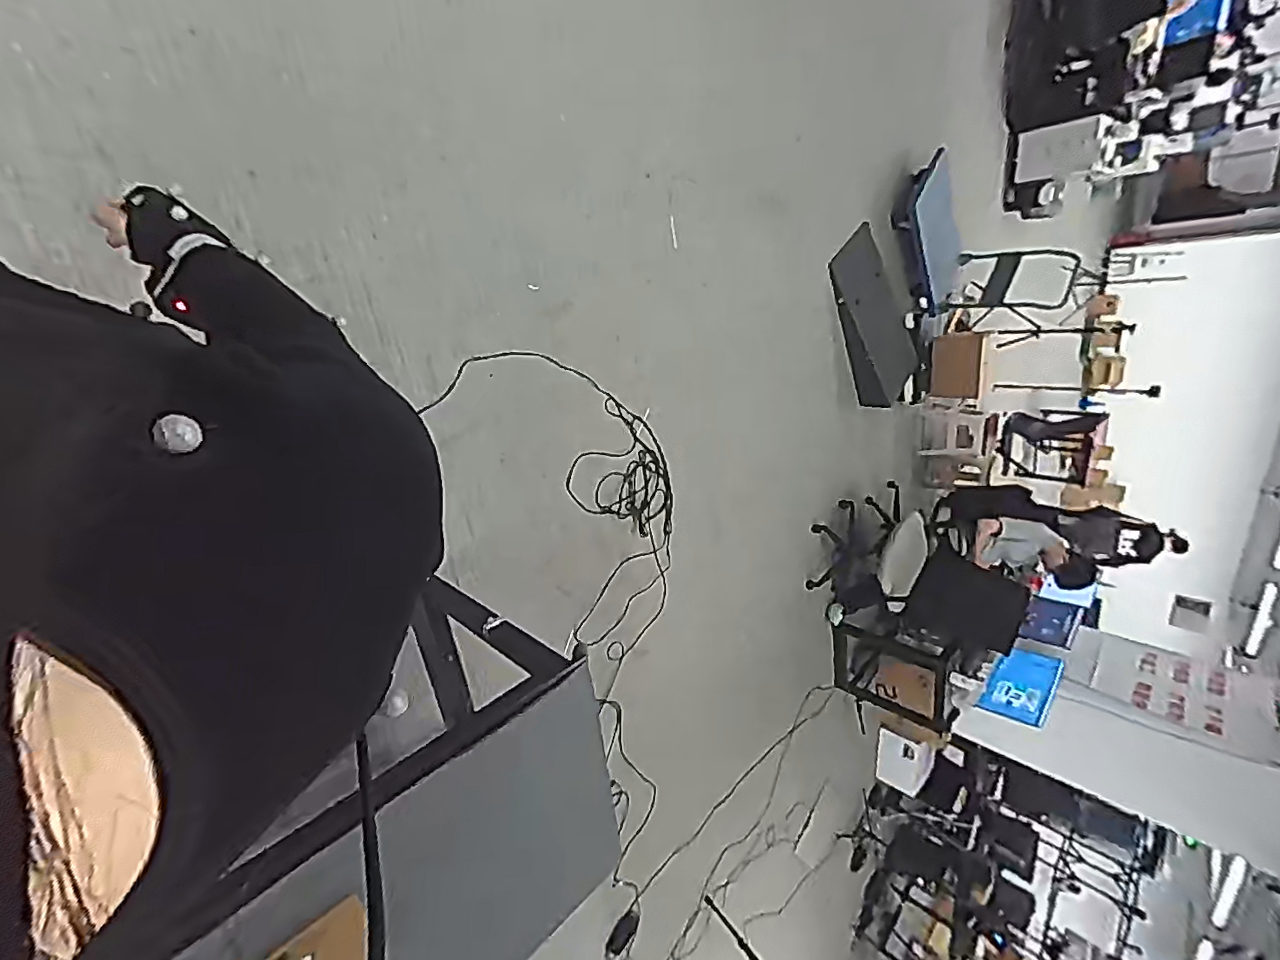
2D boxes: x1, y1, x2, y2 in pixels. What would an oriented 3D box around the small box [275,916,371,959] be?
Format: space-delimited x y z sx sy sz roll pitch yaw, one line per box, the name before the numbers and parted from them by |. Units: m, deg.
small box | -0.438 0.762 0.736 0.168 0.176 0.179 -23 116 -41
